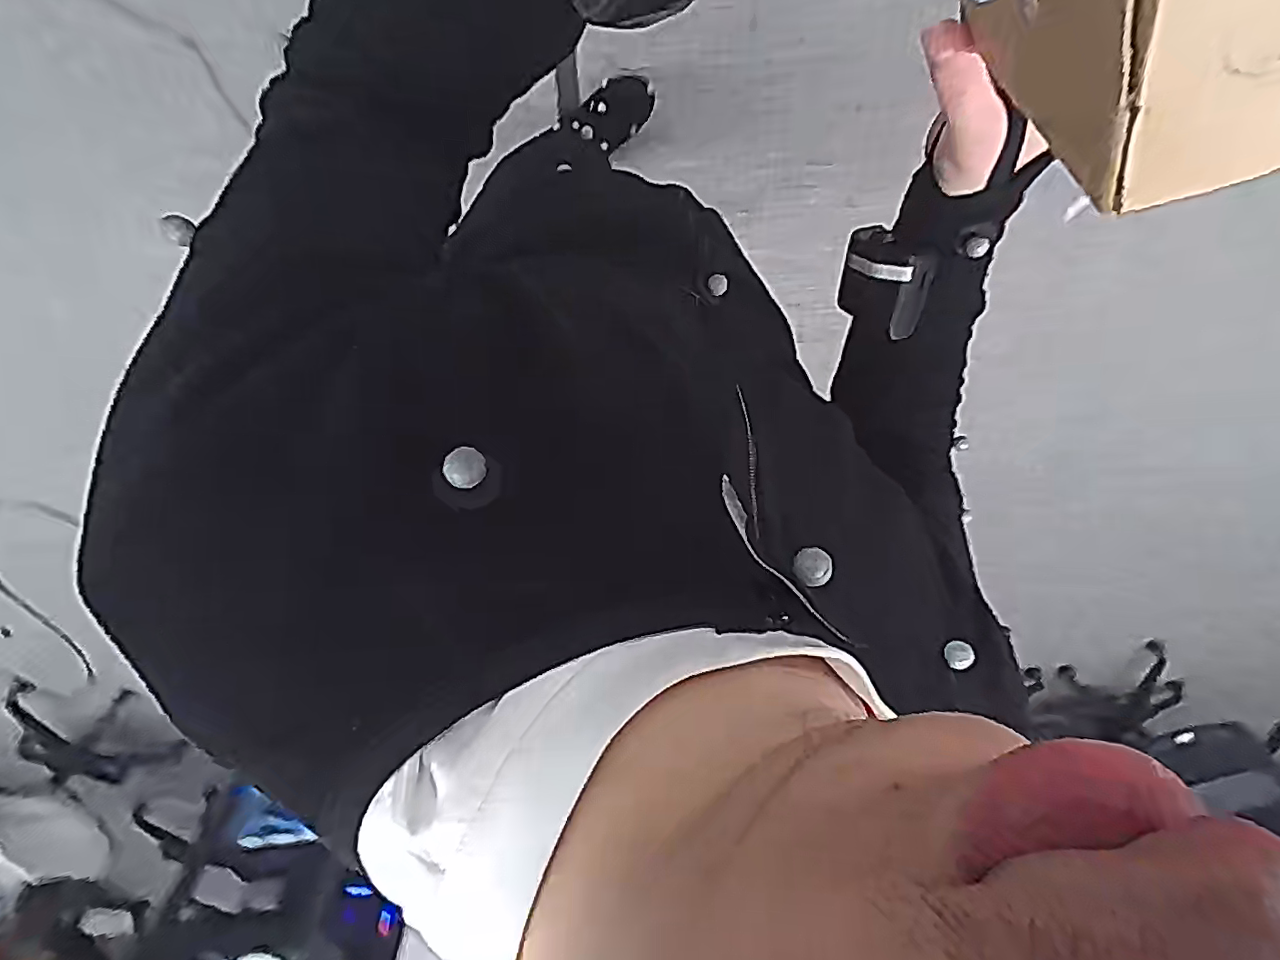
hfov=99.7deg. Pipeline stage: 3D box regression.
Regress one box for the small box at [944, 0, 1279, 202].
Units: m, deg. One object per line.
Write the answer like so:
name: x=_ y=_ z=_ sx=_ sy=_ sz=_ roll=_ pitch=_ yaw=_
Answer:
small box: x=0.175 y=-0.209 z=0.119 sx=0.179 sy=0.176 sz=0.168 roll=-14 pitch=141 yaw=25
